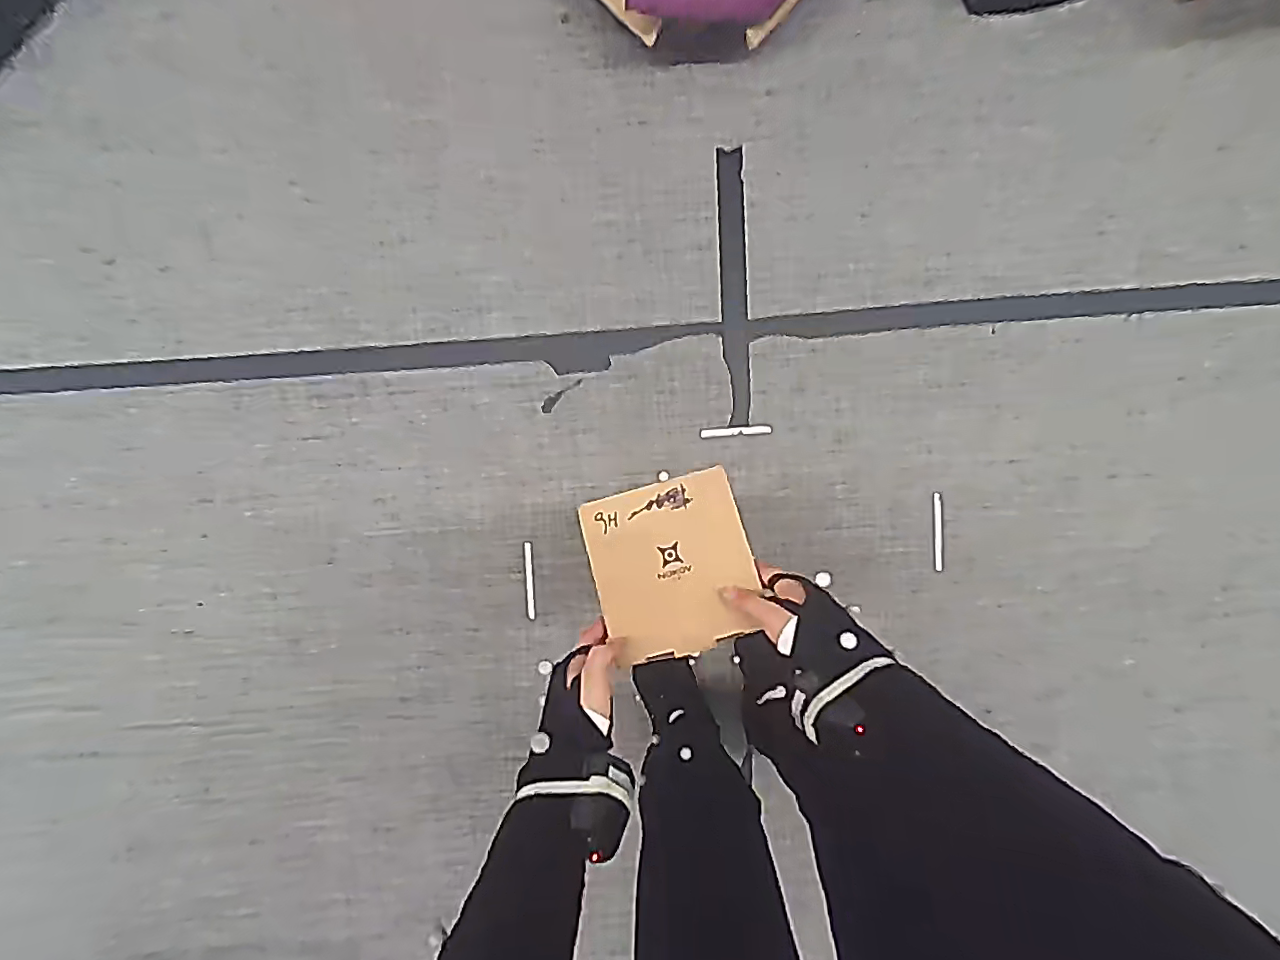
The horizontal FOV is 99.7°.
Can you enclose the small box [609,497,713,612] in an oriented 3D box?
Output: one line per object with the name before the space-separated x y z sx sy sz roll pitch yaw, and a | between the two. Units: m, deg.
small box | 0.034 0.124 0.970 0.168 0.176 0.179 -5 93 1
